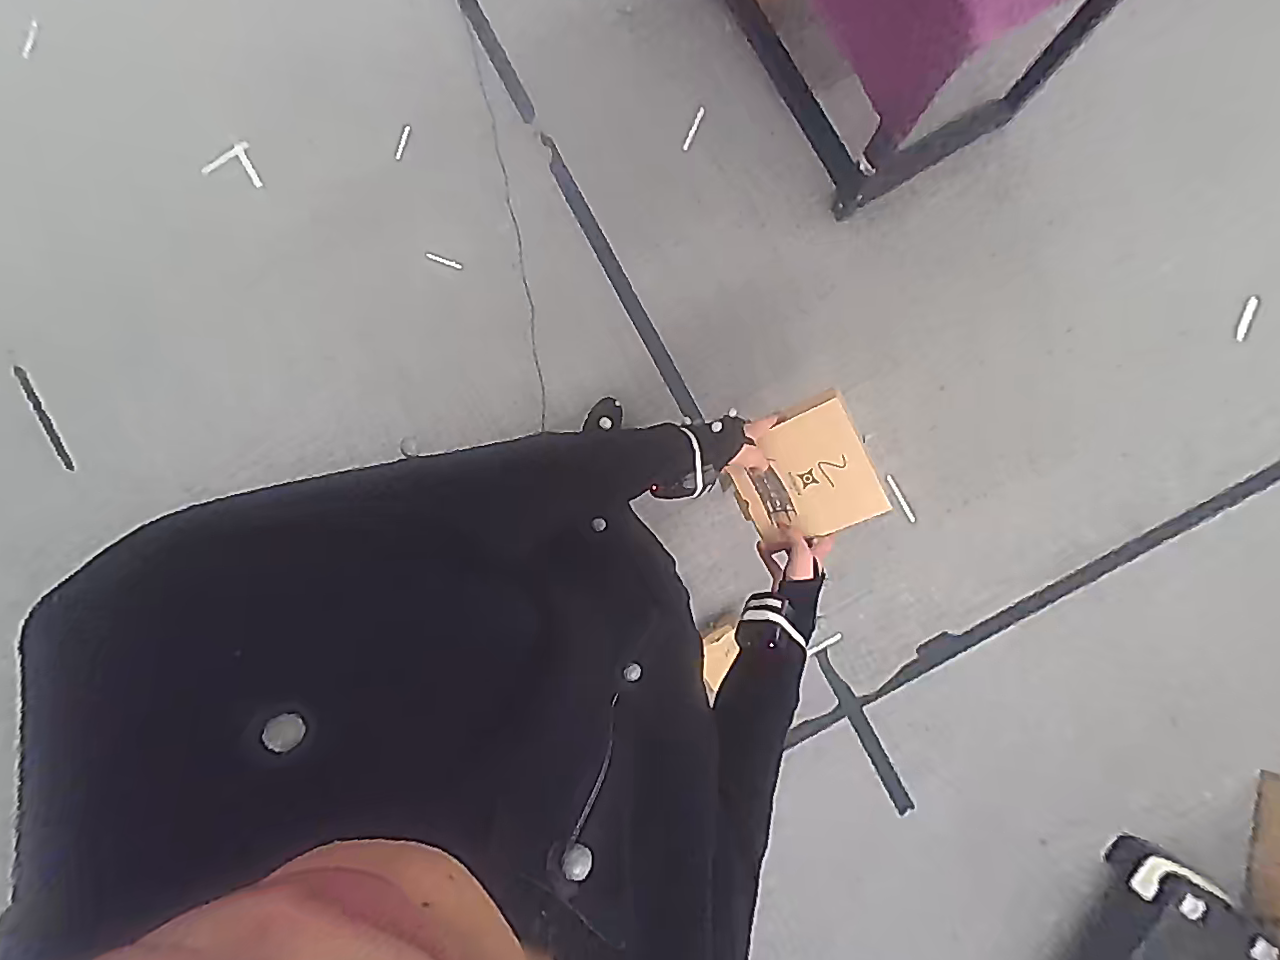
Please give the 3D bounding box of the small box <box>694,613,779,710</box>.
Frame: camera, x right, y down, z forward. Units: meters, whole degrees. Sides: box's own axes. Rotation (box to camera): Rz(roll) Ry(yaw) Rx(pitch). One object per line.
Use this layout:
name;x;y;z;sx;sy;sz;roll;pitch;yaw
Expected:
small box;0.265;0.504;1.524;0.168;0.176;0.179;-32;86;3
